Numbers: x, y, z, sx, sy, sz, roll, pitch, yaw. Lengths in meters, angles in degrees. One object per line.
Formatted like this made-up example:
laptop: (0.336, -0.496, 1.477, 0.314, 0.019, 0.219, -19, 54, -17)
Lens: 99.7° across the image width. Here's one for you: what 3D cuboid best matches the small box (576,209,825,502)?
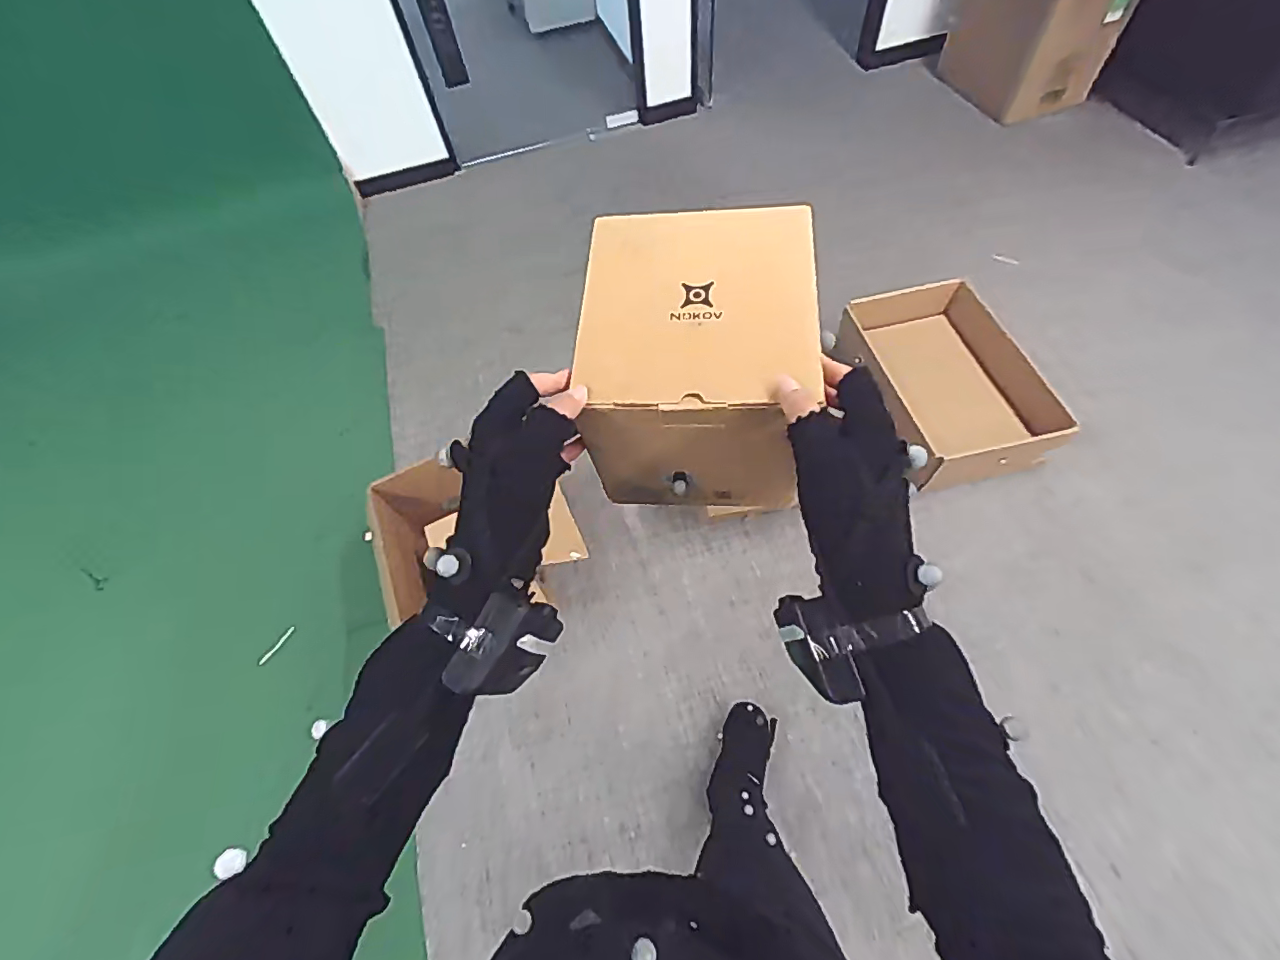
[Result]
small box: (0.053, -0.096, 0.457, 0.168, 0.176, 0.179, 1, 66, 9)
